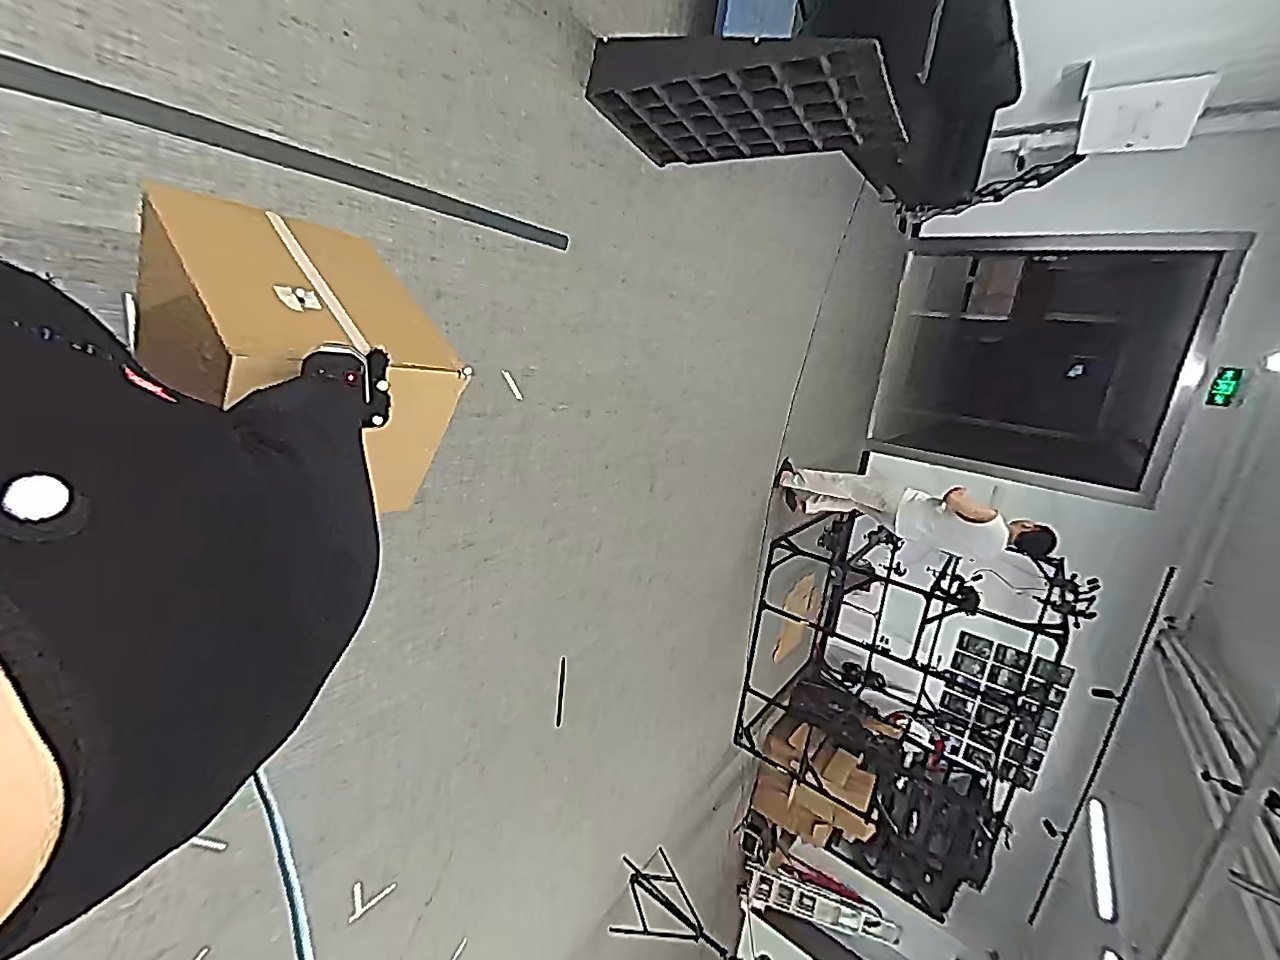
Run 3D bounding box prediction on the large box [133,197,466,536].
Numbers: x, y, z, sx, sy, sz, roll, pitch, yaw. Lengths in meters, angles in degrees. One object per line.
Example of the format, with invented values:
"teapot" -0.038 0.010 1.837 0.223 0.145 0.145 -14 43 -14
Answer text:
"large box" -0.567 -0.175 0.888 0.320 0.408 0.320 -10 144 -52
